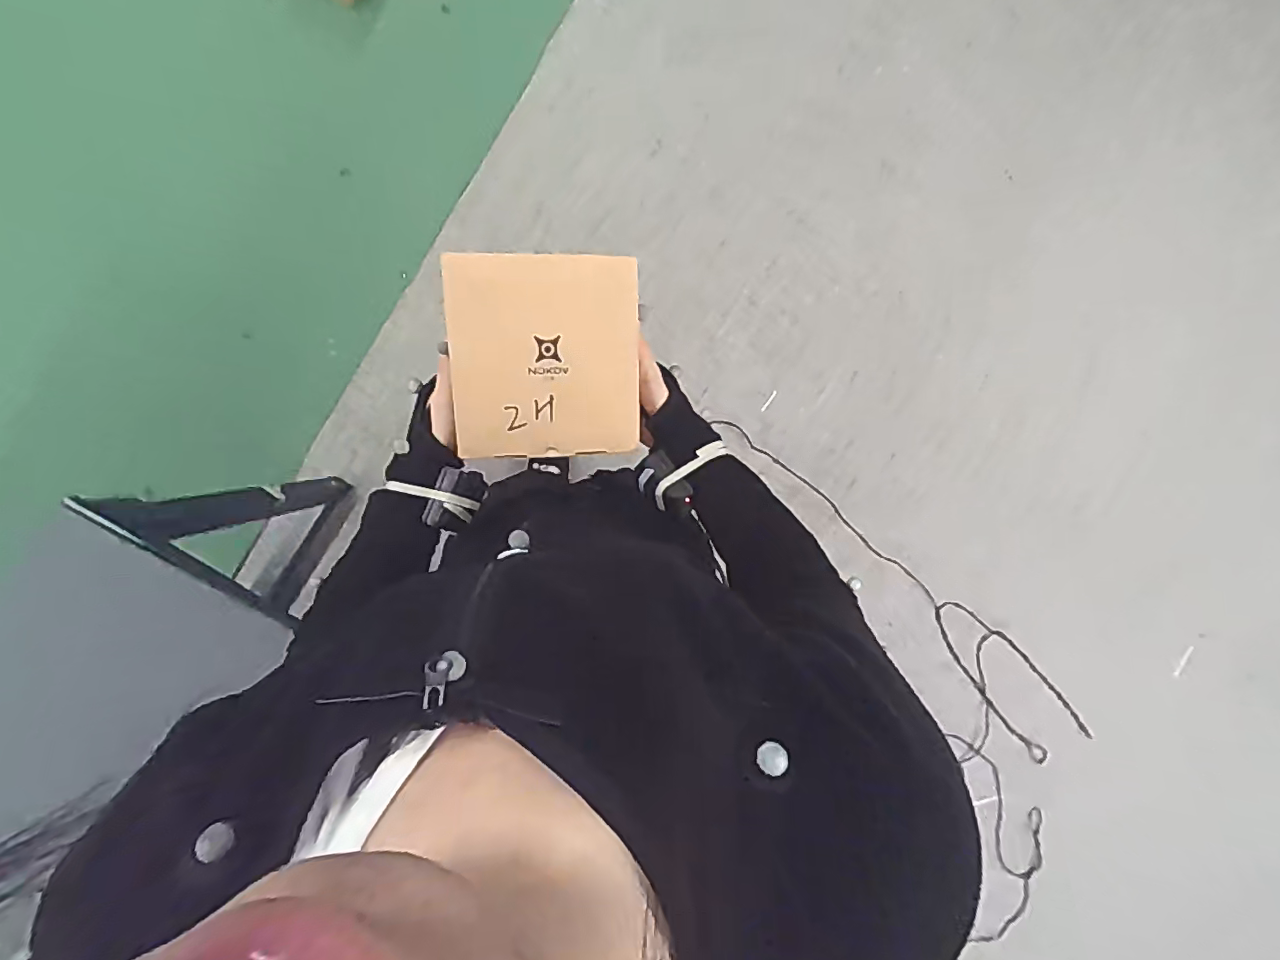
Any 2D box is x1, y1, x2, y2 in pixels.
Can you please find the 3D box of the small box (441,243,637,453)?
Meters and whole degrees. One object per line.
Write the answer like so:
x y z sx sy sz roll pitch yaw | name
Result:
-0.099 -0.128 0.547 0.168 0.176 0.179 -3 104 -10 | small box
